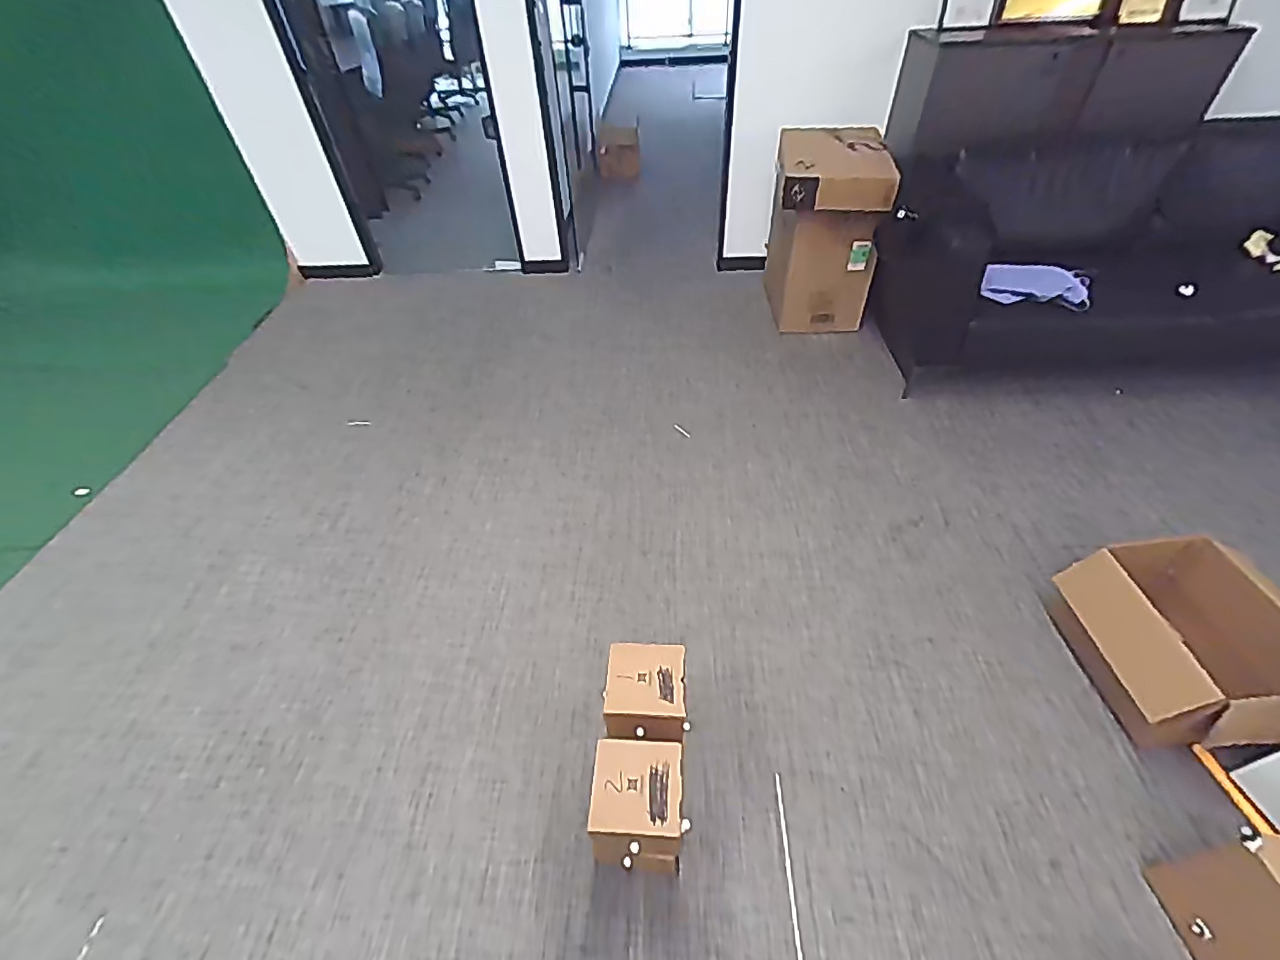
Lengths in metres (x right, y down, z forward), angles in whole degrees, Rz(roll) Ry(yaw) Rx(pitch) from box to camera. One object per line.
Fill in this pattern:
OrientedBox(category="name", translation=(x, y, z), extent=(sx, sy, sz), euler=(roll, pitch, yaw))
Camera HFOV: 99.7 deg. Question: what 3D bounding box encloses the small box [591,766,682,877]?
OrientedBox(category="small box", translation=(0.000, 0.768, 1.212), extent=(0.179, 0.176, 0.168), euler=(5, 46, 7))
